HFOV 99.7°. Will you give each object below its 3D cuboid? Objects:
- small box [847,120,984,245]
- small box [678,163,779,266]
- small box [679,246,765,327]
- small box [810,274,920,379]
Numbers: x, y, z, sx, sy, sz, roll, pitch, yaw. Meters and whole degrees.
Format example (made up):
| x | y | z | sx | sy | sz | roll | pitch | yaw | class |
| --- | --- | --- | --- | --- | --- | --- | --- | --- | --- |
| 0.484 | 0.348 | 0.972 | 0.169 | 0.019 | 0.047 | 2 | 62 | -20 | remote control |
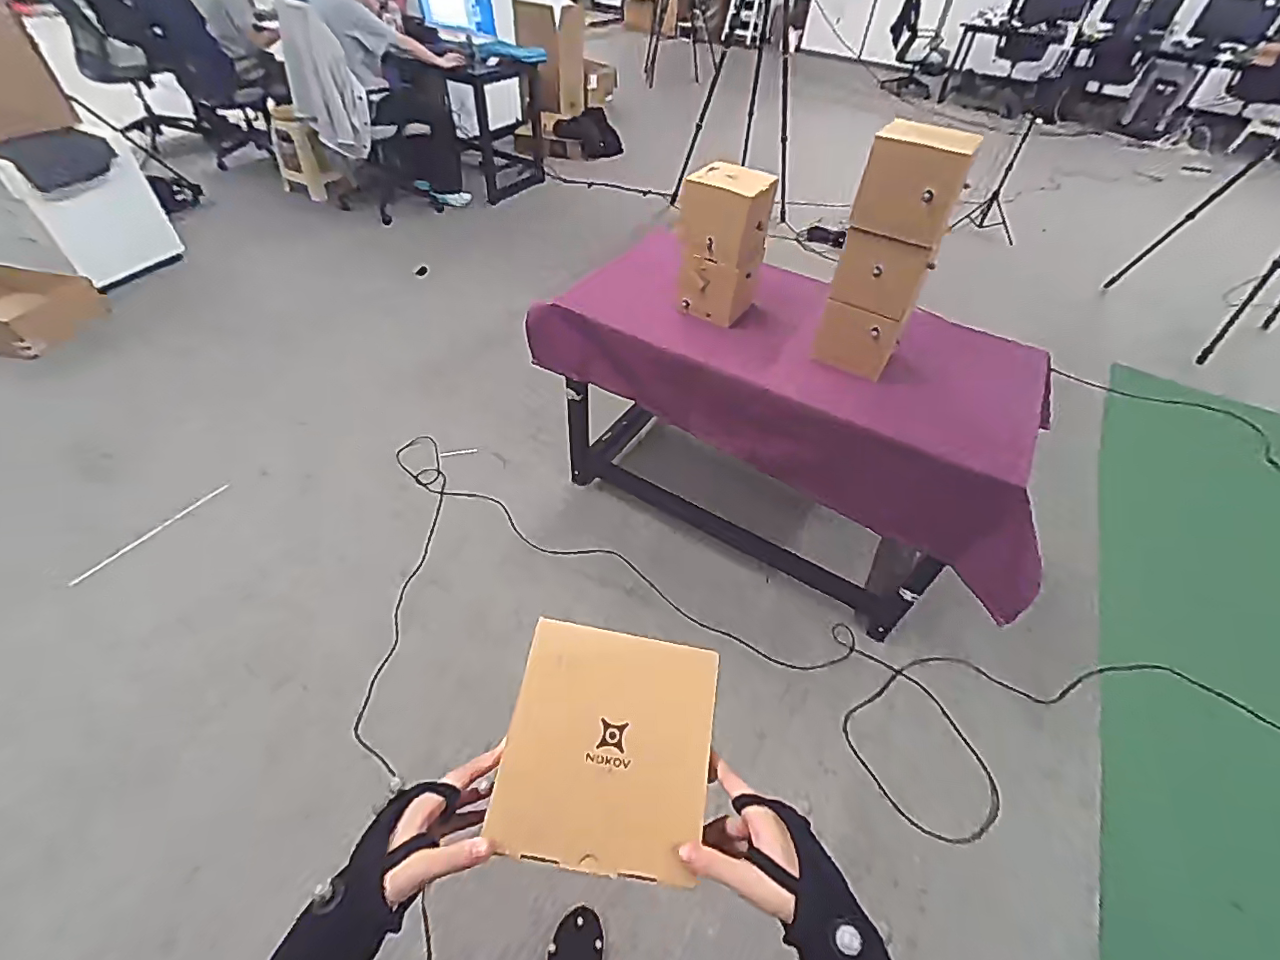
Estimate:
| x | y | z | sx | sy | sz | roll | pitch | yaw | class |
| --- | --- | --- | --- | --- | --- | --- | --- | --- | --- |
| 0.547 | -0.594 | 1.086 | 0.179 | 0.176 | 0.168 | 27 | 50 | 20 | small box |
| 0.214 | -0.654 | 1.341 | 0.179 | 0.176 | 0.168 | 28 | 51 | 19 | small box |
| 0.215 | -0.538 | 1.459 | 0.168 | 0.176 | 0.179 | 27 | 50 | 19 | small box |
| 0.548 | -0.373 | 1.329 | 0.179 | 0.176 | 0.168 | 28 | 51 | 20 | small box |
